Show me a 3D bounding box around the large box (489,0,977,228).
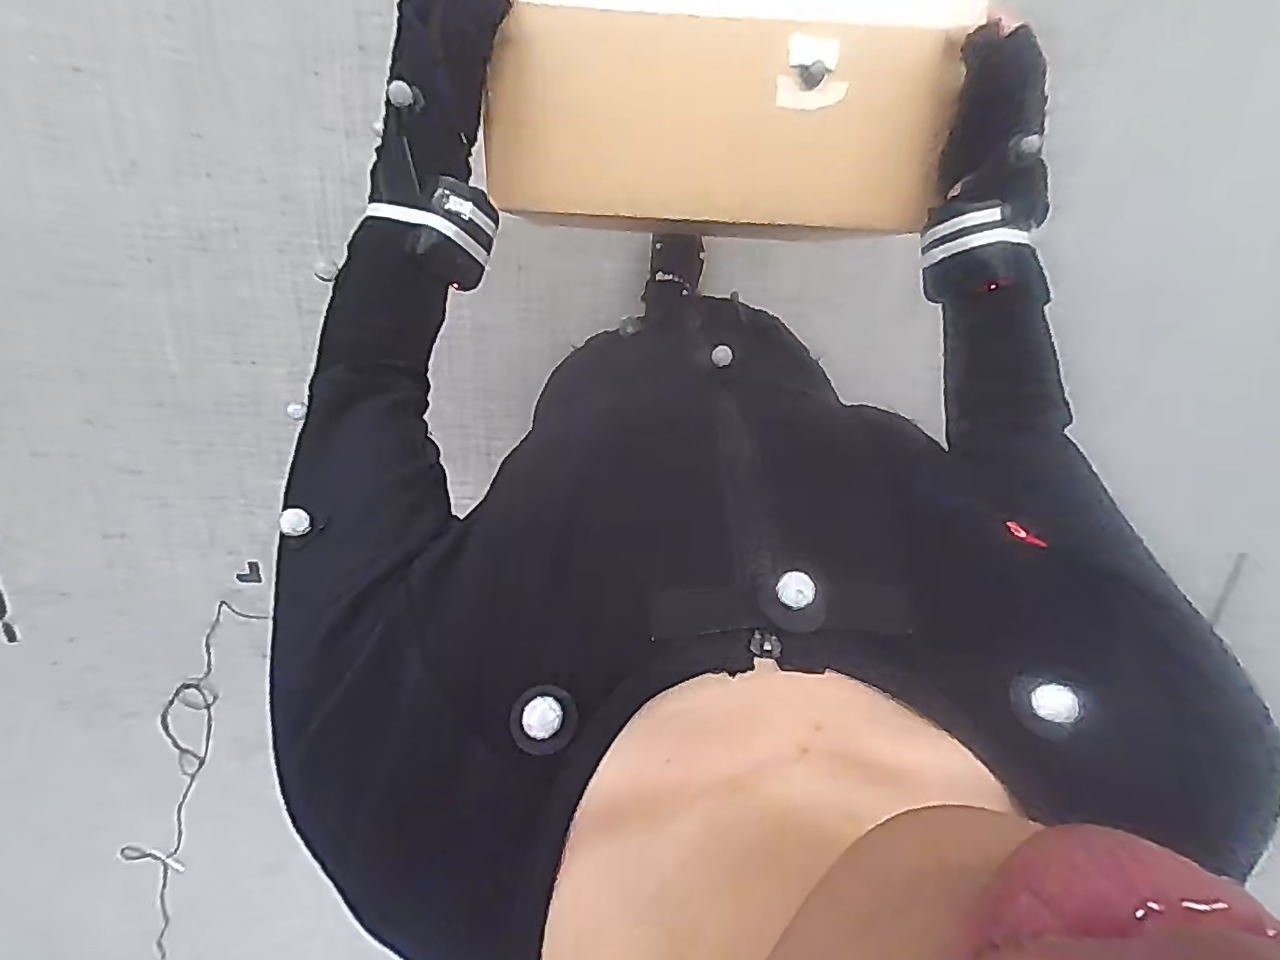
[{"bbox_3d":[0.070,-0.447,0.570,0.408,0.320,0.320,1,113,-3],"label":"large box"}]
